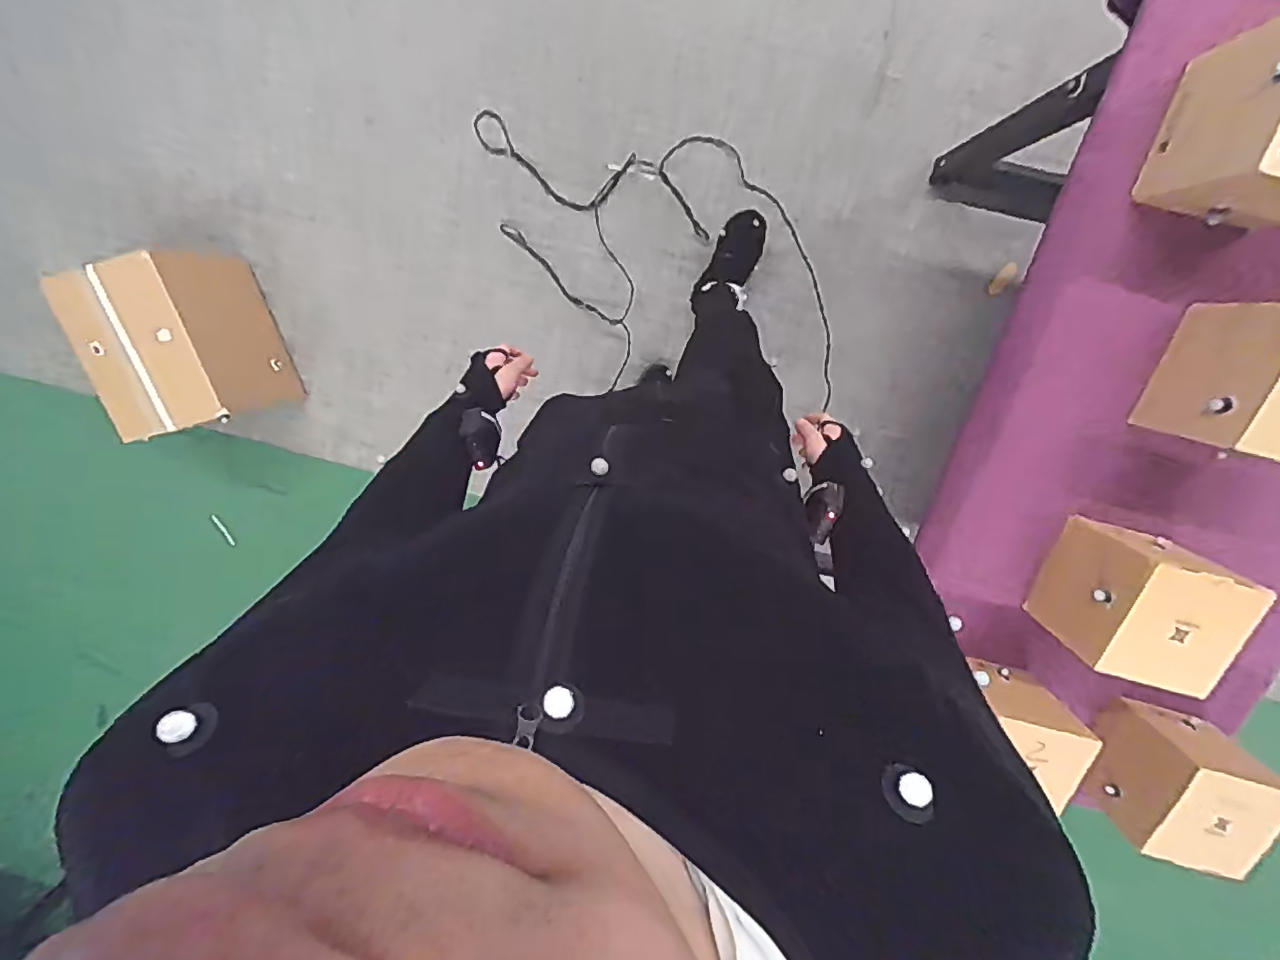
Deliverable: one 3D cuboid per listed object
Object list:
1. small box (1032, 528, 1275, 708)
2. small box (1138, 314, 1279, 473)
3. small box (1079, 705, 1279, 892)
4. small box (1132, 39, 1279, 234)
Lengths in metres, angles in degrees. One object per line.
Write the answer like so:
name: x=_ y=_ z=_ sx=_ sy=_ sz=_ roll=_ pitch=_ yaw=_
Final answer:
small box: x=0.734 y=0.195 z=0.803 sx=0.168 sy=0.176 sz=0.179 roll=15 pitch=106 yaw=0
small box: x=0.818 y=-0.108 z=0.703 sx=0.168 sy=0.176 sz=0.179 roll=14 pitch=107 yaw=-1
small box: x=0.879 y=0.510 z=0.884 sx=0.168 sy=0.176 sz=0.179 roll=16 pitch=106 yaw=0
small box: x=0.746 y=-0.392 z=0.621 sx=0.179 sy=0.176 sz=0.168 roll=12 pitch=107 yaw=-1
